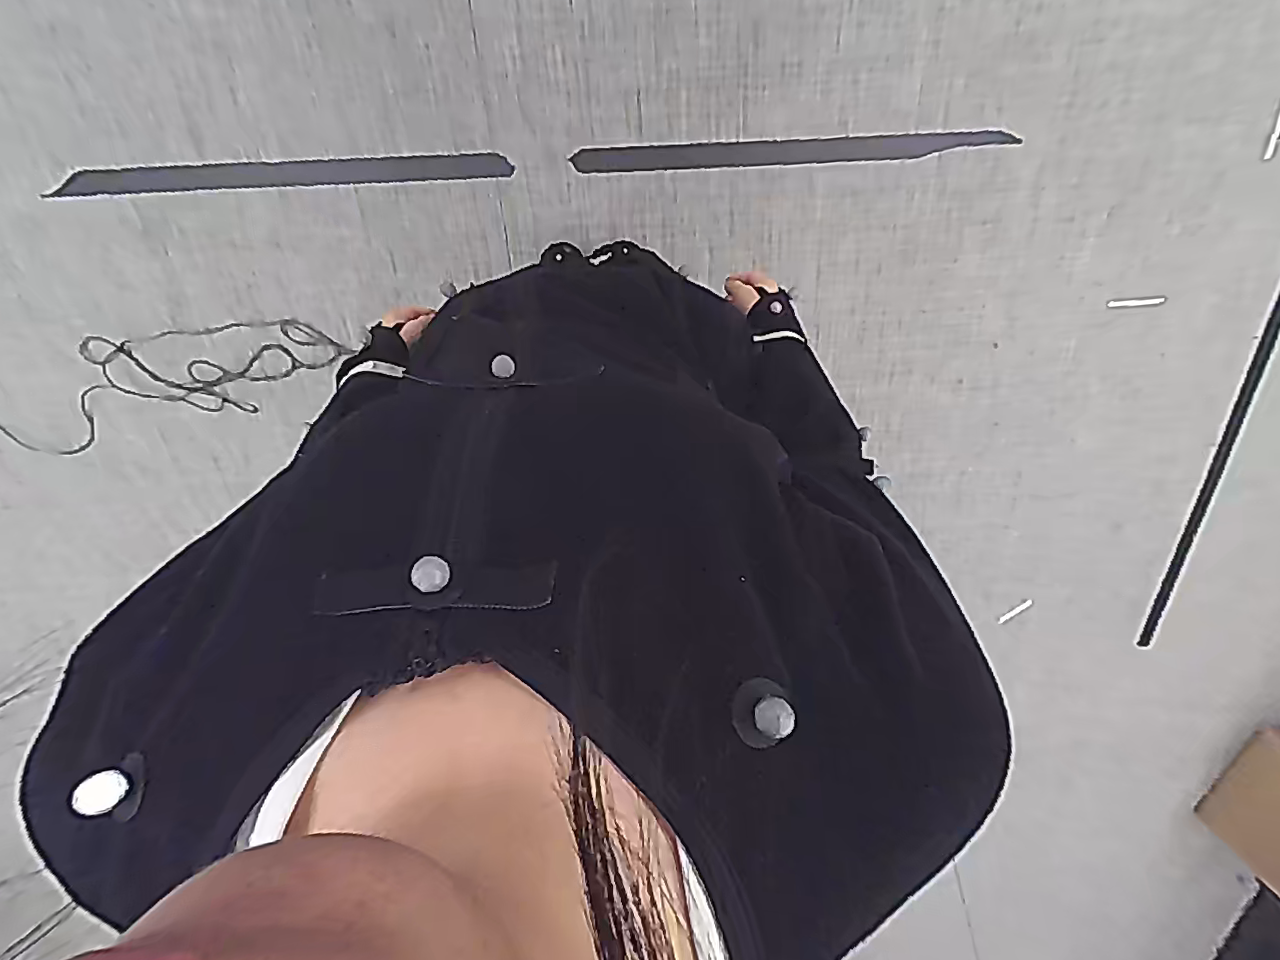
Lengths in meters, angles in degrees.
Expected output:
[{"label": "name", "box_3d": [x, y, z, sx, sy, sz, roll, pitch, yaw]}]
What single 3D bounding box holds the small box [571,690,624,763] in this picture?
[{"label": "small box", "box_3d": [-0.145, 0.840, 1.853, 0.179, 0.176, 0.168, 0, 114, -5]}]
